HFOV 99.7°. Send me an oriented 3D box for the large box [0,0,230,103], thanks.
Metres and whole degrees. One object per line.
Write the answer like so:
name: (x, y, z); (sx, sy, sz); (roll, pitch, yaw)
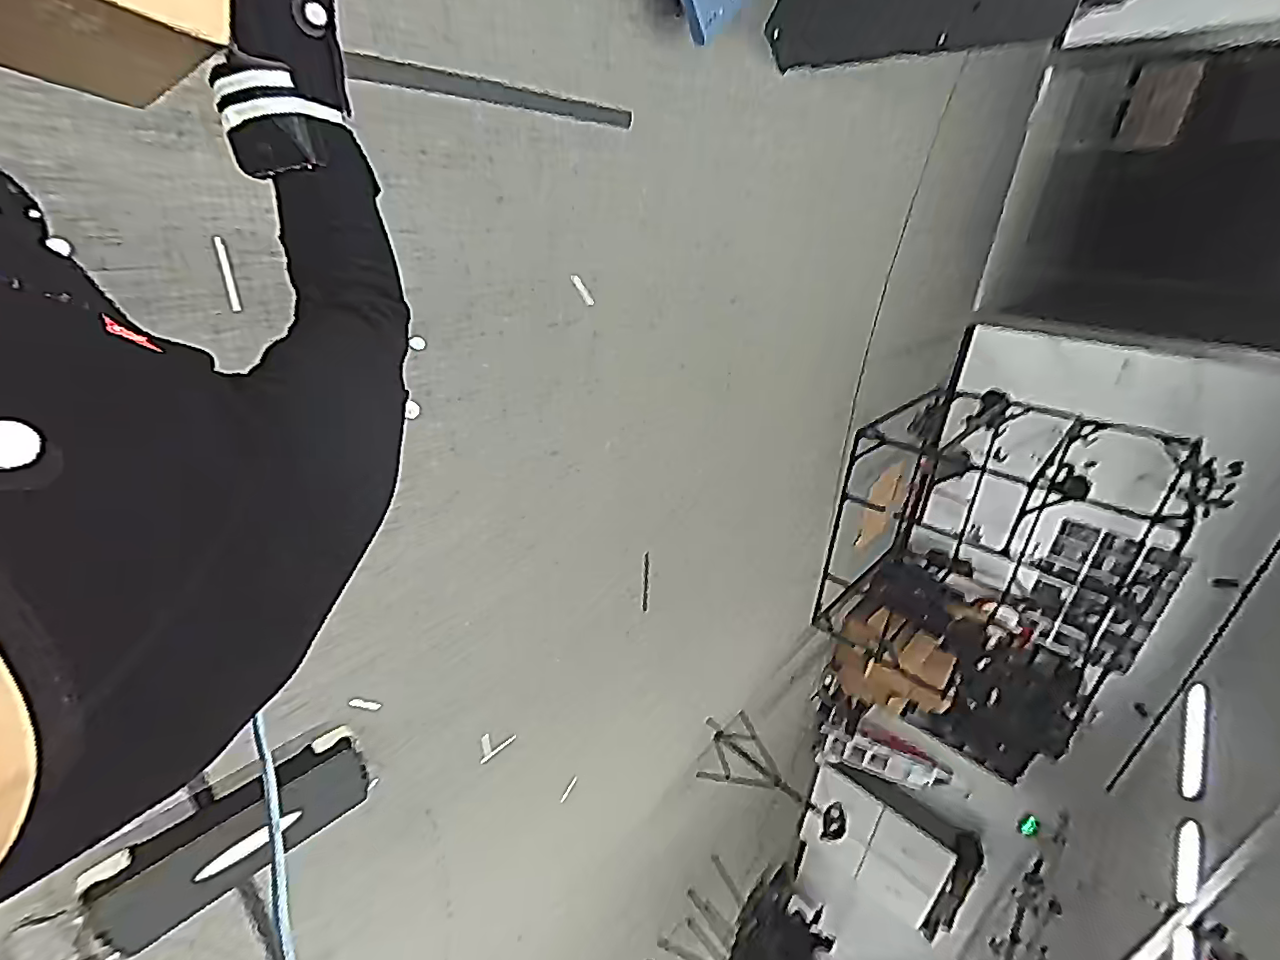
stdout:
large box: (-0.500, -0.463, 0.272); (0.408, 0.320, 0.320); (-8, 113, -49)
